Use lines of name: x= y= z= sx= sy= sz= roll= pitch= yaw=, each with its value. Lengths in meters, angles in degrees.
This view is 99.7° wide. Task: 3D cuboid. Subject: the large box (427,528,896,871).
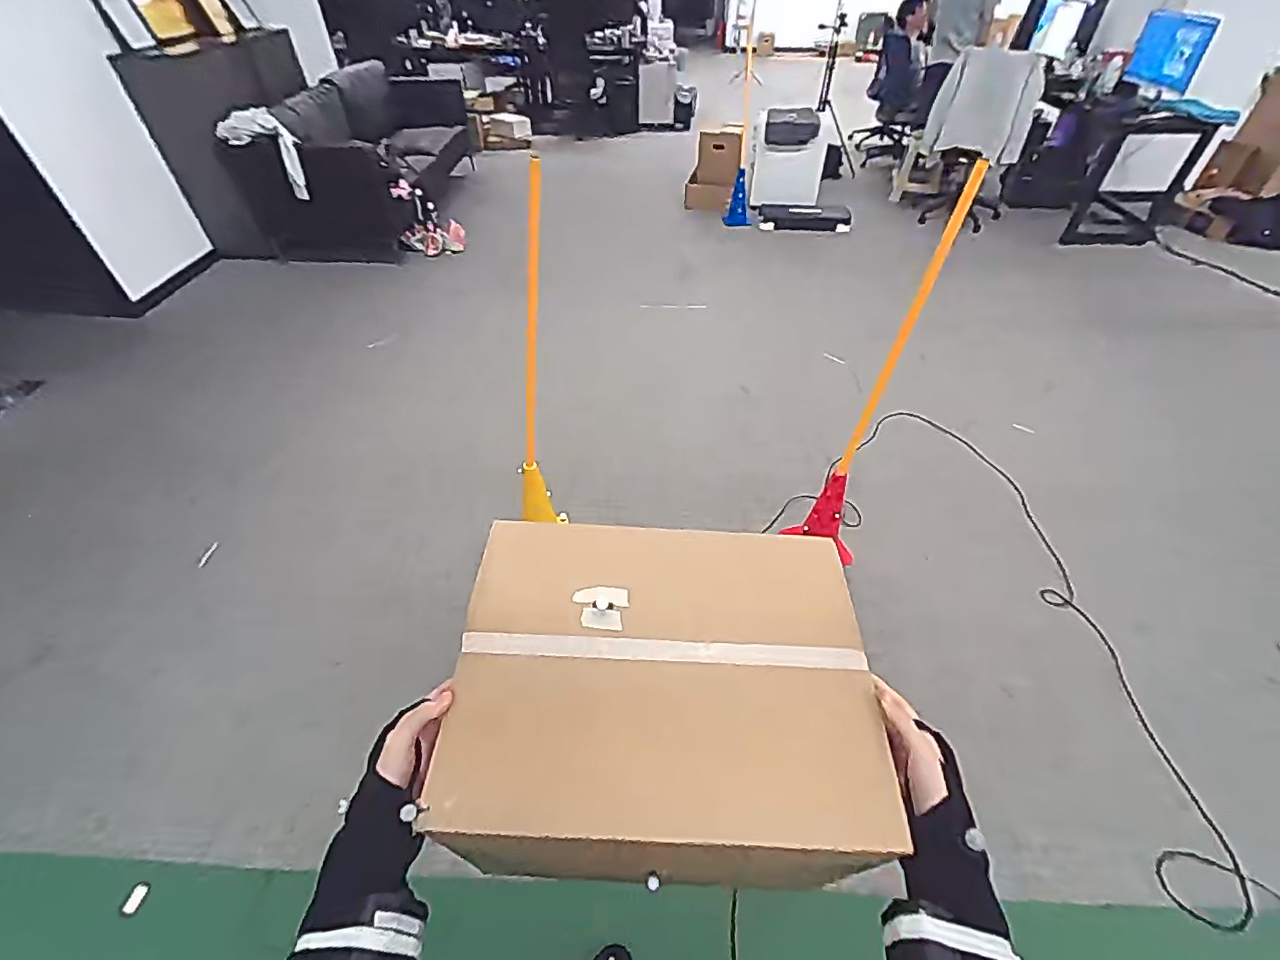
large box: x=0.020 y=0.275 z=0.661 sx=0.408 sy=0.320 sz=0.320 roll=3 pitch=48 yaw=0
